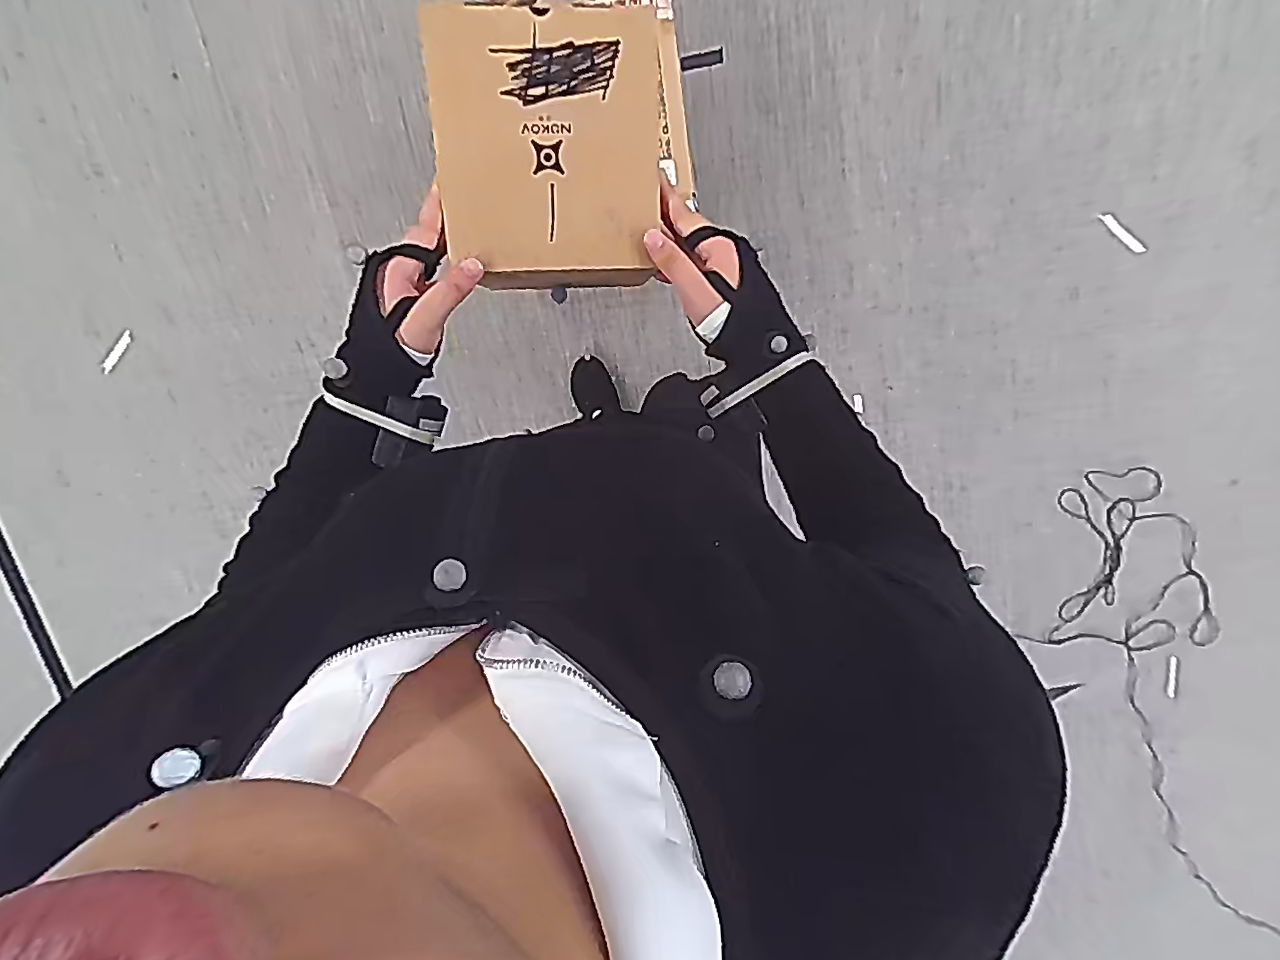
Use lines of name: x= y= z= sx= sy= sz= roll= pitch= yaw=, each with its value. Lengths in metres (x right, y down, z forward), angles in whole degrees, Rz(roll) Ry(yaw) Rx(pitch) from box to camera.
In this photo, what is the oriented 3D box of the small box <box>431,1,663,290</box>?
small box: x=-0.072 y=-0.269 z=0.478 sx=0.168 sy=0.176 sz=0.179 roll=-2 pitch=105 yaw=-4
